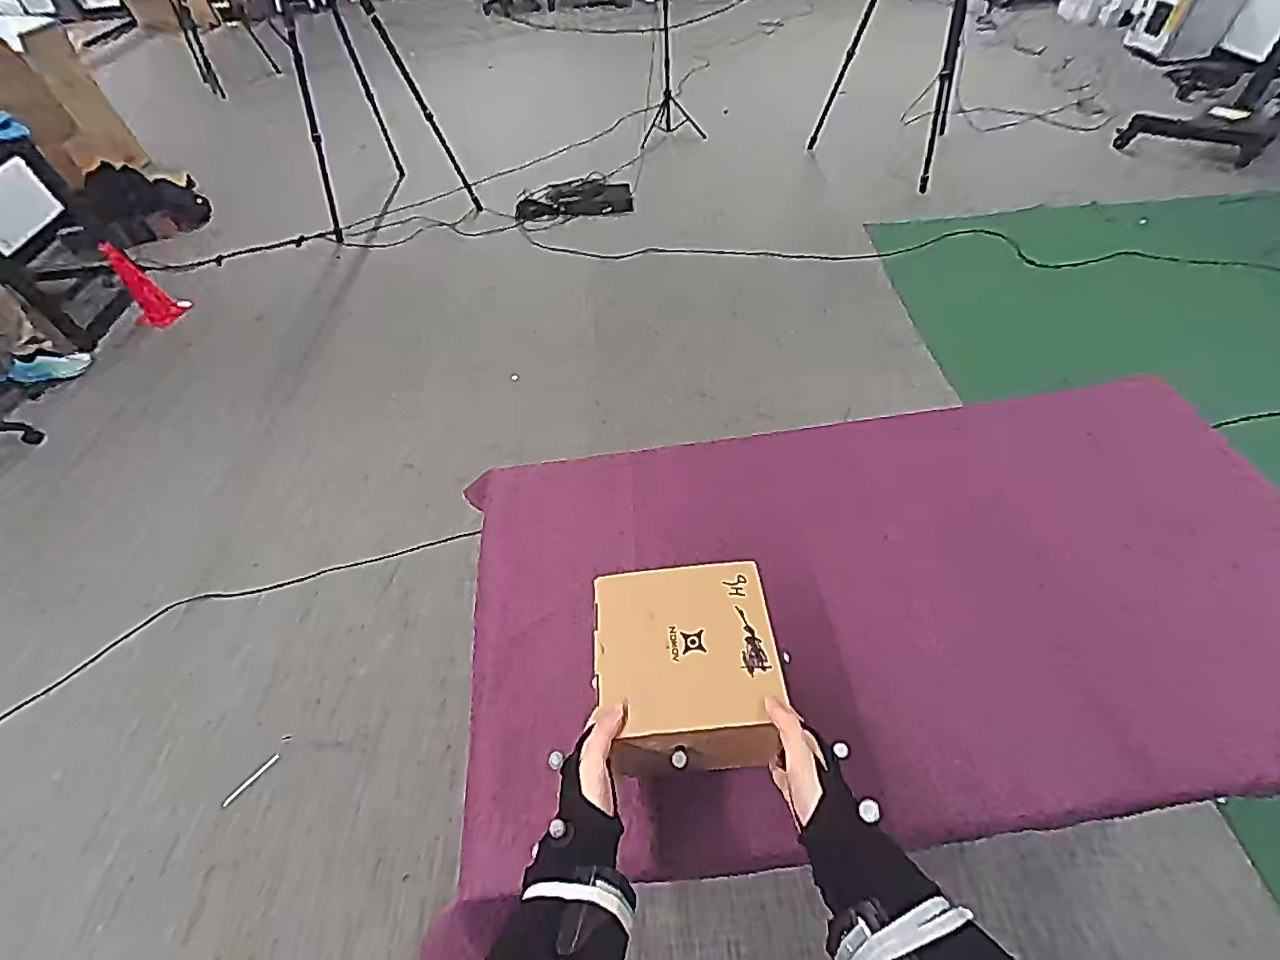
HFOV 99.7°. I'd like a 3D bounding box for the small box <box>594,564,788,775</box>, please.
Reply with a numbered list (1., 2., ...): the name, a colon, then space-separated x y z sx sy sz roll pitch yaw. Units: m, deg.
1. small box: 0.051 0.211 0.590 0.179 0.176 0.168 -7 51 2
